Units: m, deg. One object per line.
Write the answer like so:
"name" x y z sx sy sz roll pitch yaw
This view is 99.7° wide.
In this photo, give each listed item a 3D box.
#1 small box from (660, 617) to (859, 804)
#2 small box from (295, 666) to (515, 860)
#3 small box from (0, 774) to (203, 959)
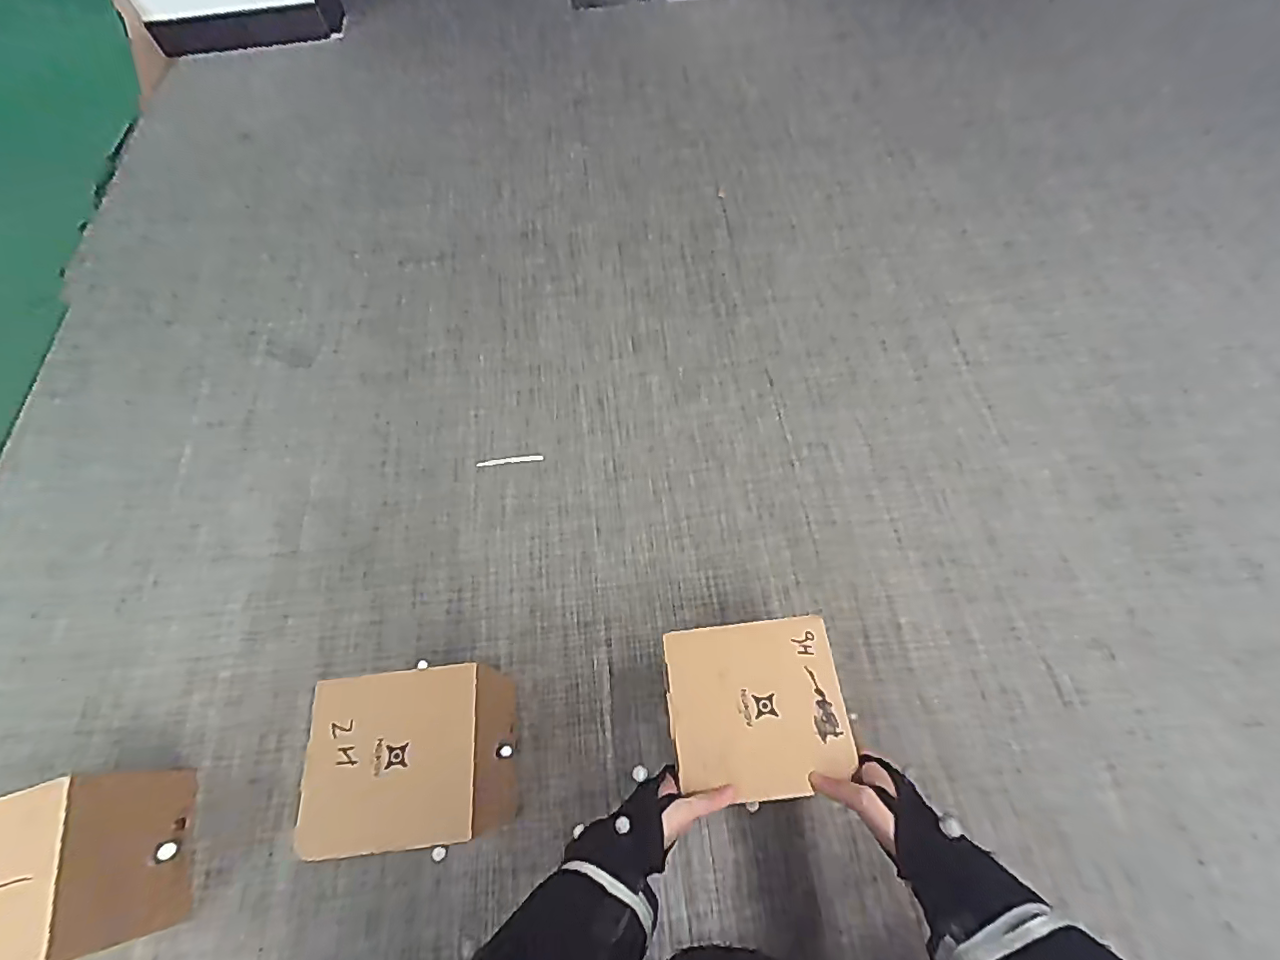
"small box" 0.123 0.265 0.616 0.179 0.176 0.168 -7 62 3
"small box" -0.246 0.317 0.620 0.179 0.176 0.168 -6 62 -1
"small box" -0.625 0.432 0.579 0.179 0.176 0.168 -17 63 -7
